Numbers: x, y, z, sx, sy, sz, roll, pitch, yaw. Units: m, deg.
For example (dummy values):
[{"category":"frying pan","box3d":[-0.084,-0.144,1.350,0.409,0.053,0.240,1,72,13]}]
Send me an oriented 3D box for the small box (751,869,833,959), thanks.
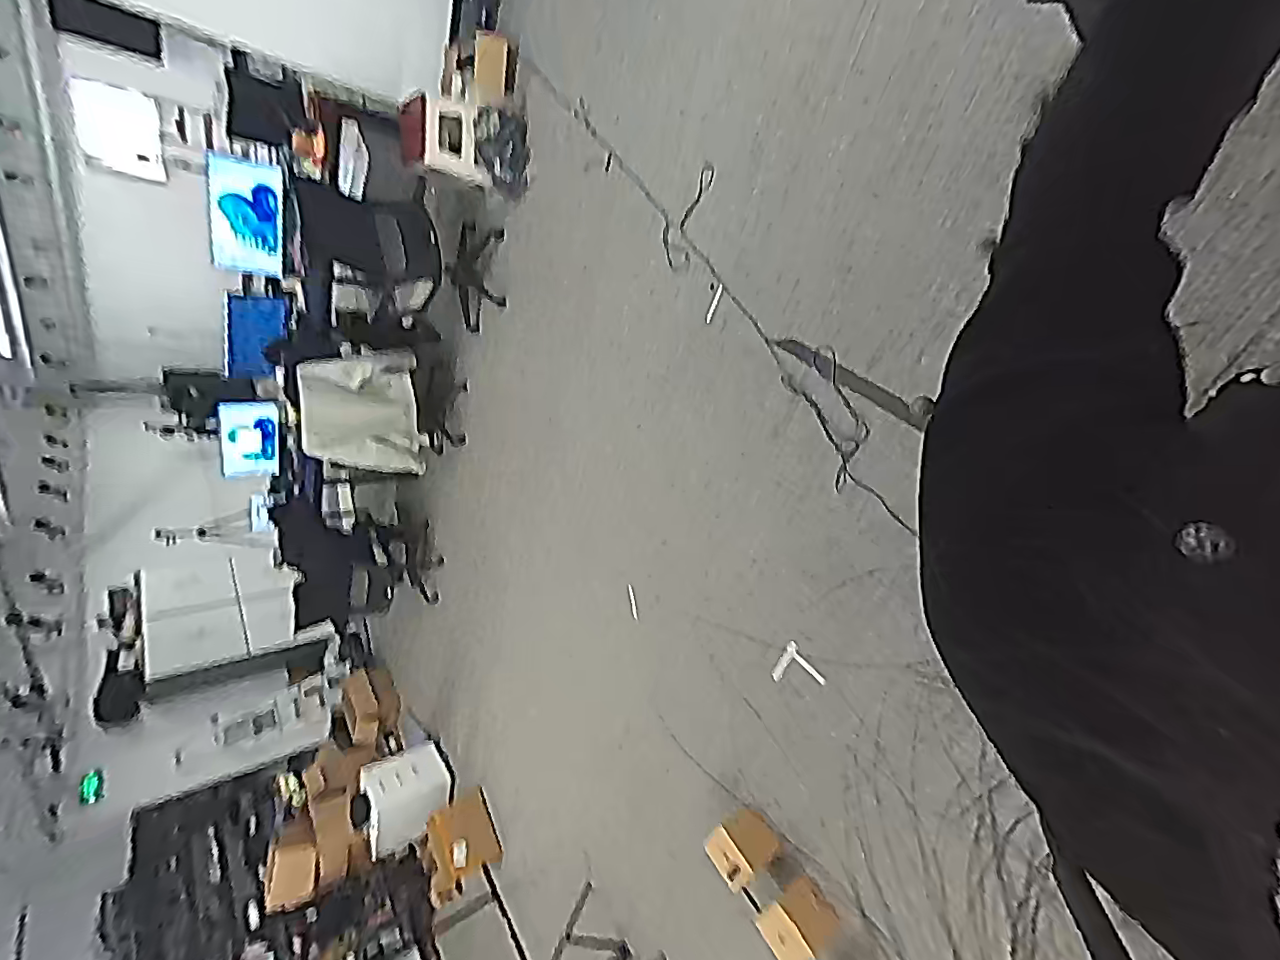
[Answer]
[{"category":"small box","box3d":[0.516,1.468,1.821,0.168,0.176,0.179,47,127,33]}]
